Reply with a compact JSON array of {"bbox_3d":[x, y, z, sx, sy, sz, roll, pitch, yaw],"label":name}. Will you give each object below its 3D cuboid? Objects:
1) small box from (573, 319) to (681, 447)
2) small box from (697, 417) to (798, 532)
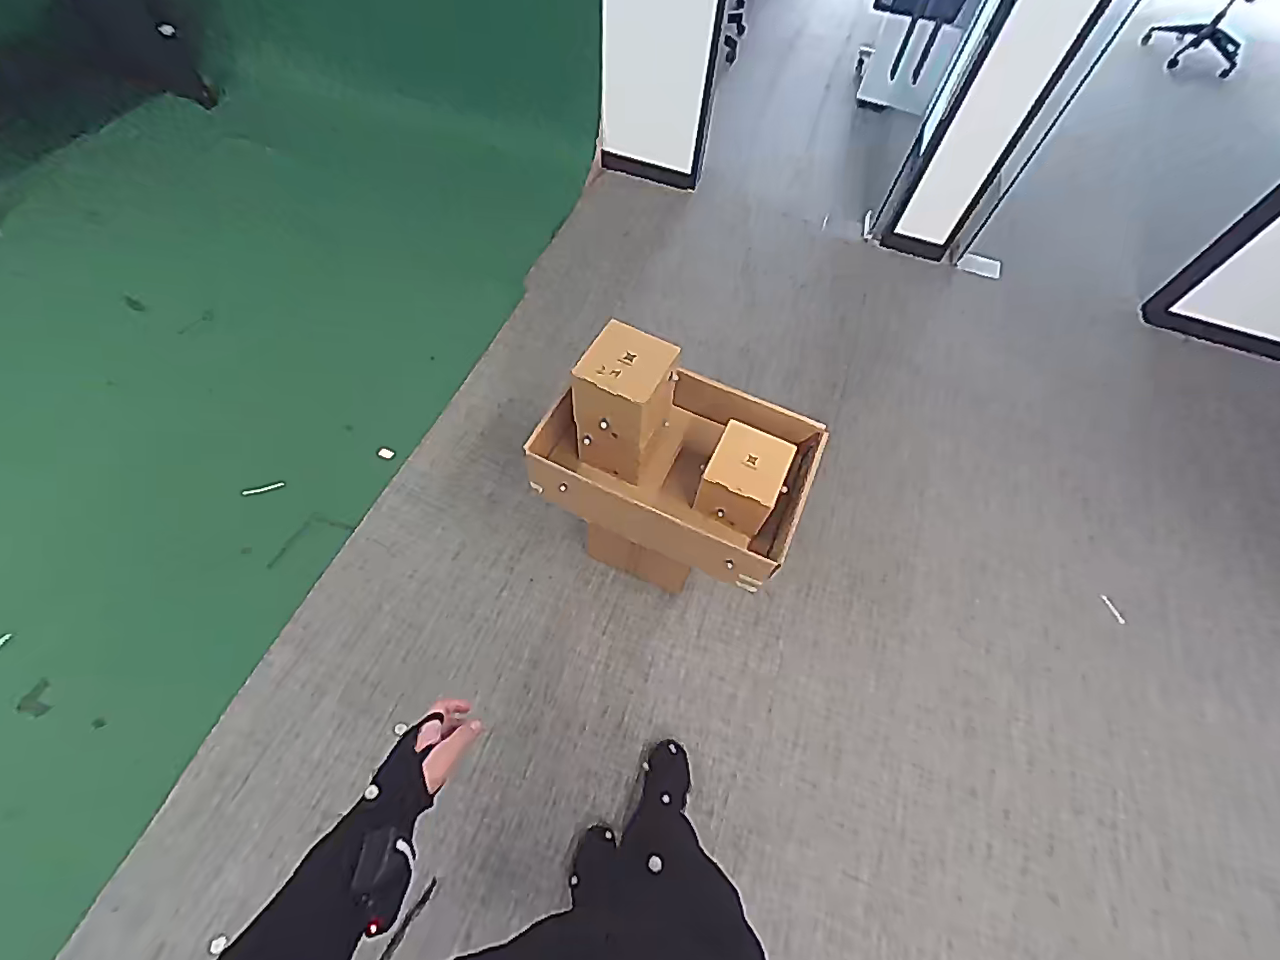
[{"bbox_3d":[-0.030,-0.204,1.160,0.168,0.176,0.179,25,63,11],"label":"small box"},{"bbox_3d":[0.243,-0.009,1.258,0.168,0.176,0.179,24,63,9],"label":"small box"}]
